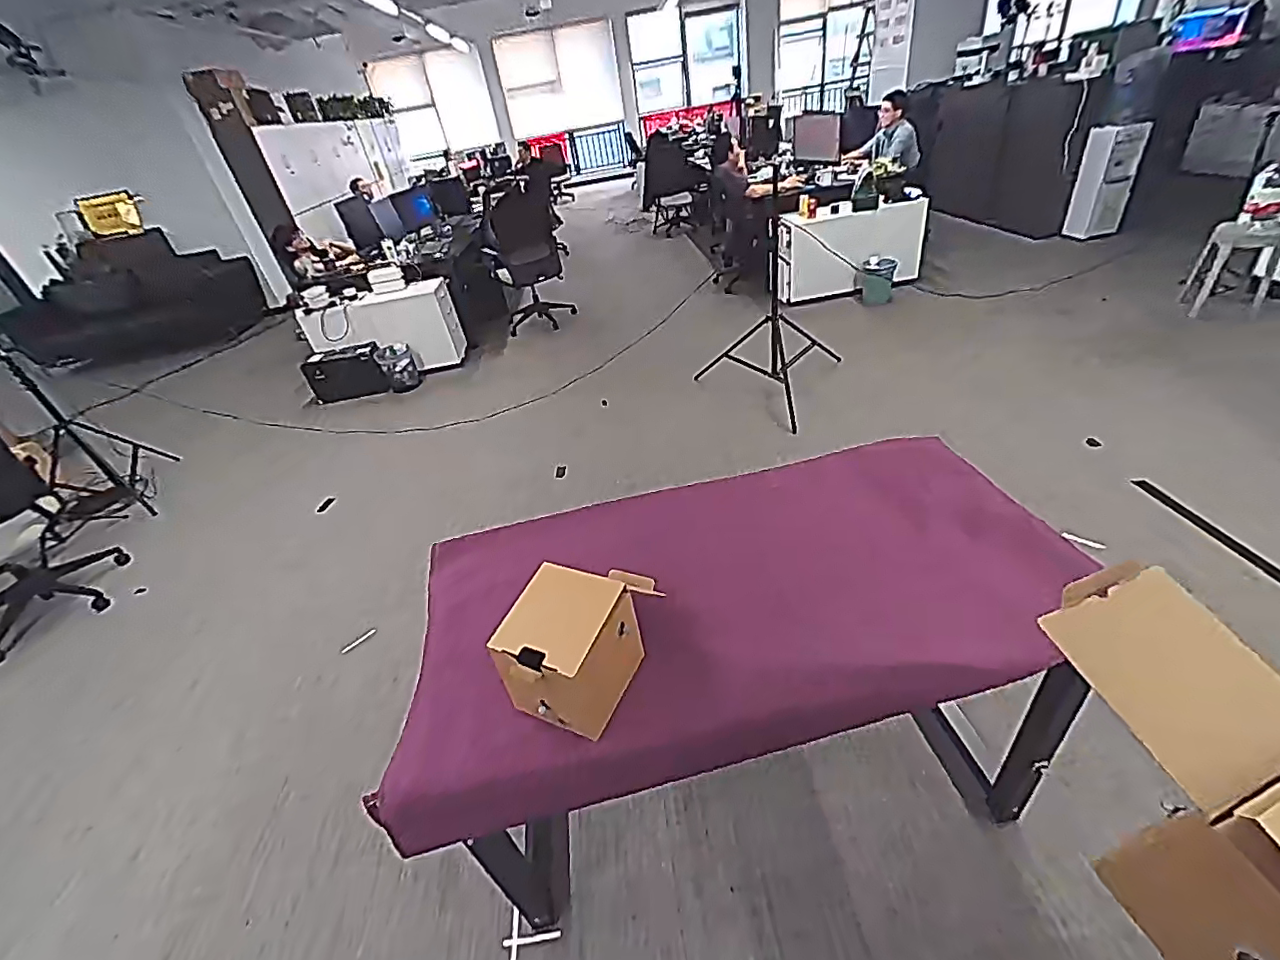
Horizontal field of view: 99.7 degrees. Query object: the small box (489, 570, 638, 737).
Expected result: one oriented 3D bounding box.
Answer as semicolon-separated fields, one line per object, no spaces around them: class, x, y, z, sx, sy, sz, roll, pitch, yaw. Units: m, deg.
small box;-0.115;0.284;0.899;0.168;0.176;0.179;9;39;27
